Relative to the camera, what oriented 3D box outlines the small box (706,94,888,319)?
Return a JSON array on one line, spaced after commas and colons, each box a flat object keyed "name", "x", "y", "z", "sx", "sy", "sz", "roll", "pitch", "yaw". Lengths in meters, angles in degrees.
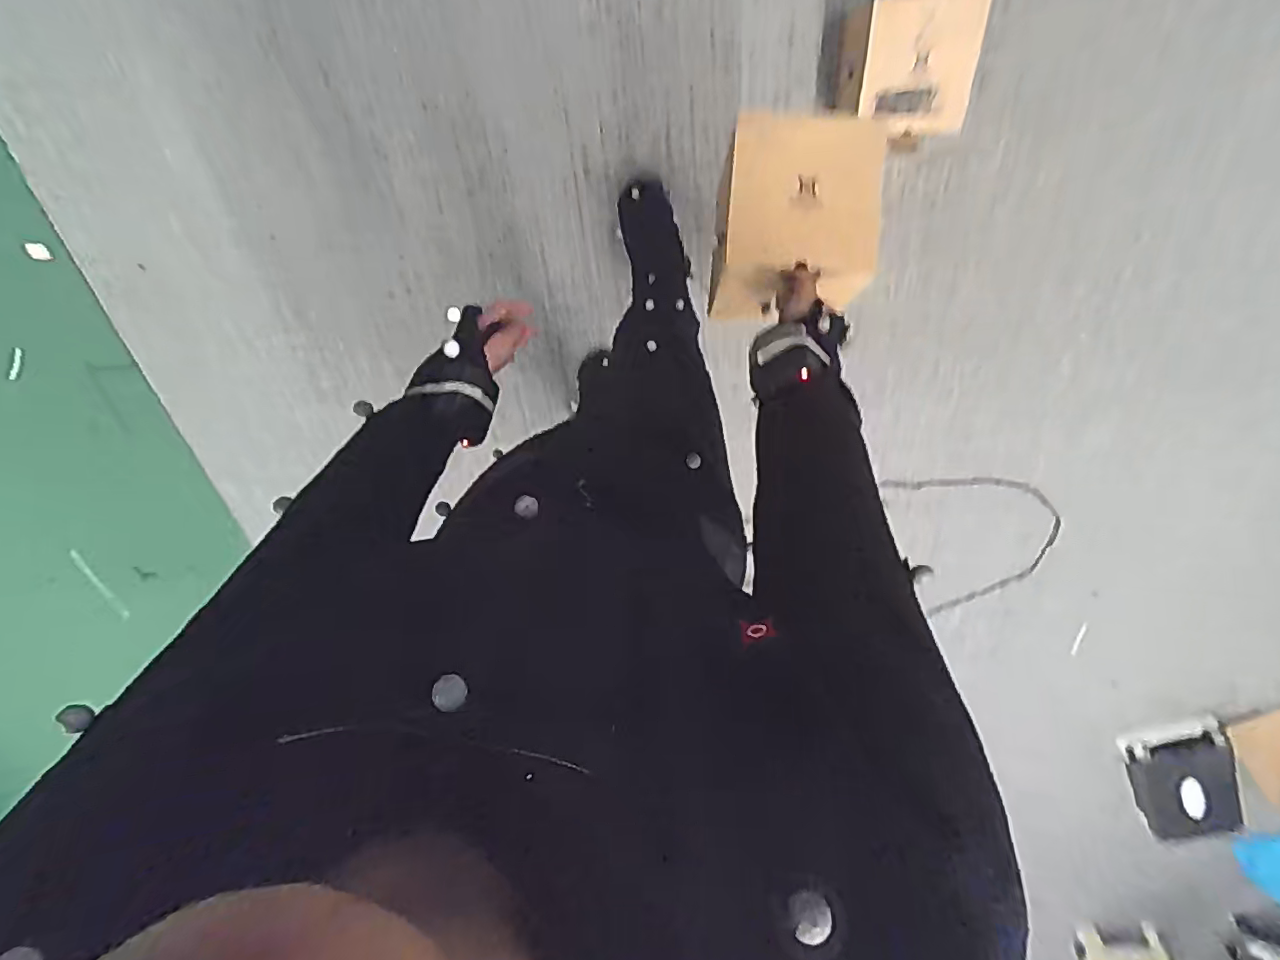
[{"name": "small box", "x": 0.173, "y": -0.310, "z": 0.645, "sx": 0.168, "sy": 0.176, "sz": 0.179, "roll": 4, "pitch": 88, "yaw": 0}]
